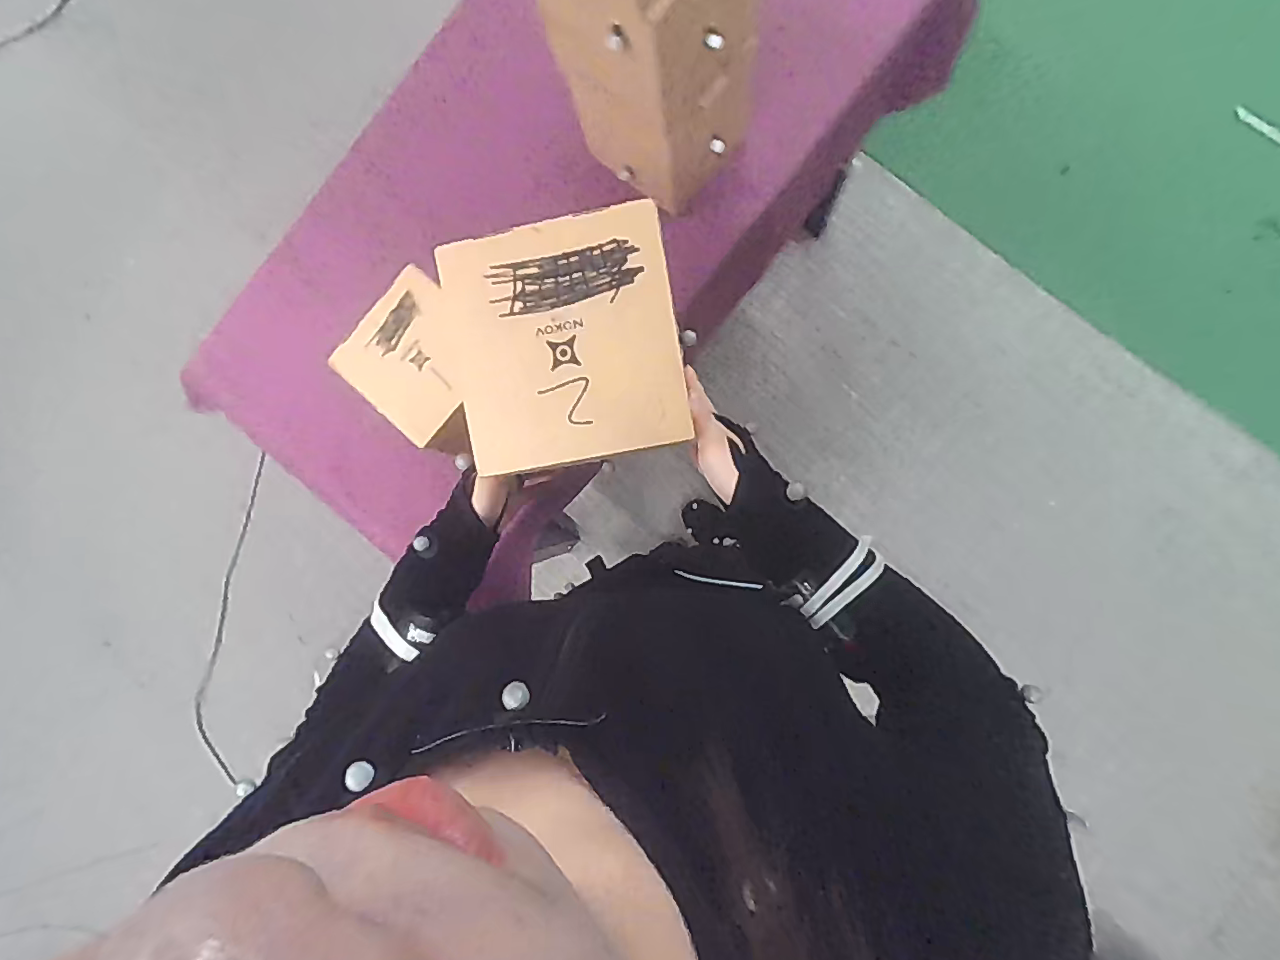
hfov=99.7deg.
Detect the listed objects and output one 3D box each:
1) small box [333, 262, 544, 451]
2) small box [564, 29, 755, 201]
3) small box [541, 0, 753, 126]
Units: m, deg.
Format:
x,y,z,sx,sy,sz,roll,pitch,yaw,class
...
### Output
x,y,z,sx,sy,sz,roll,pitch,yaw,class
-0.264,-0.154,0.748,0.179,0.176,0.168,41,93,6,small box
0.031,-0.516,0.729,0.179,0.176,0.168,40,92,6,small box
0.009,-0.520,0.565,0.179,0.176,0.168,40,92,7,small box
